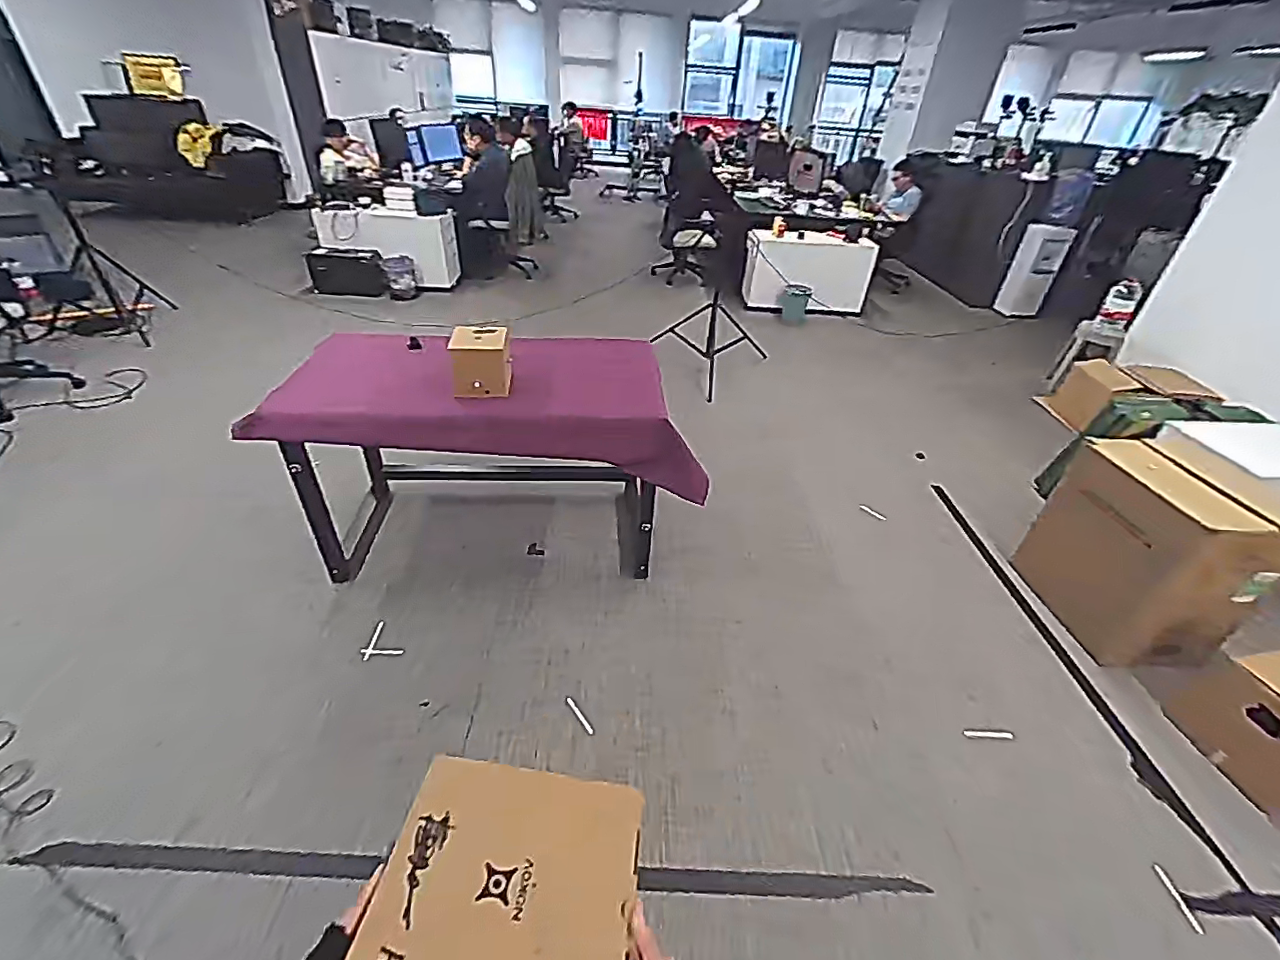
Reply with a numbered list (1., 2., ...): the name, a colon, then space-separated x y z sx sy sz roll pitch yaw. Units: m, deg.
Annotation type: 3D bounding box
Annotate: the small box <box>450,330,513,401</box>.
1. small box: -0.503 -0.368 1.739 0.168 0.176 0.179 -1 37 -7
